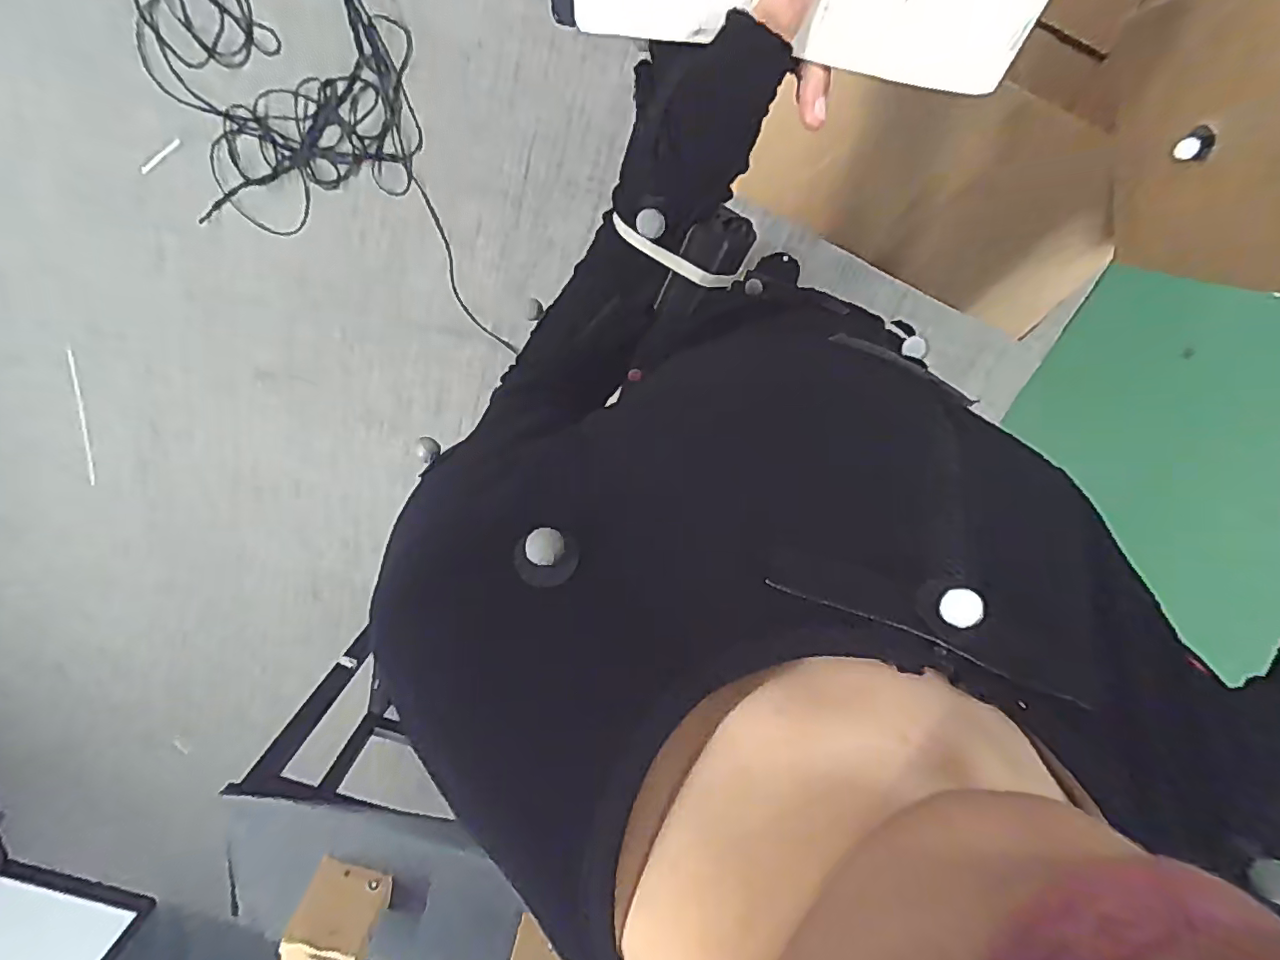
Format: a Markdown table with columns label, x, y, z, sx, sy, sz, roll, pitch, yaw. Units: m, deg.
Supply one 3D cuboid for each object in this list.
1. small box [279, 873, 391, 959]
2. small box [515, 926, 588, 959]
| label | x | y | z | sx | sy | sz | roll | pitch | yaw |
| --- | --- | --- | --- | --- | --- | --- | --- | --- | --- |
| small box | -0.700 | 1.056 | 1.251 | 0.168 | 0.176 | 0.179 | 18 | 117 | -2 |
| small box | -0.225 | 1.201 | 1.268 | 0.168 | 0.176 | 0.179 | 14 | 116 | -1 |
